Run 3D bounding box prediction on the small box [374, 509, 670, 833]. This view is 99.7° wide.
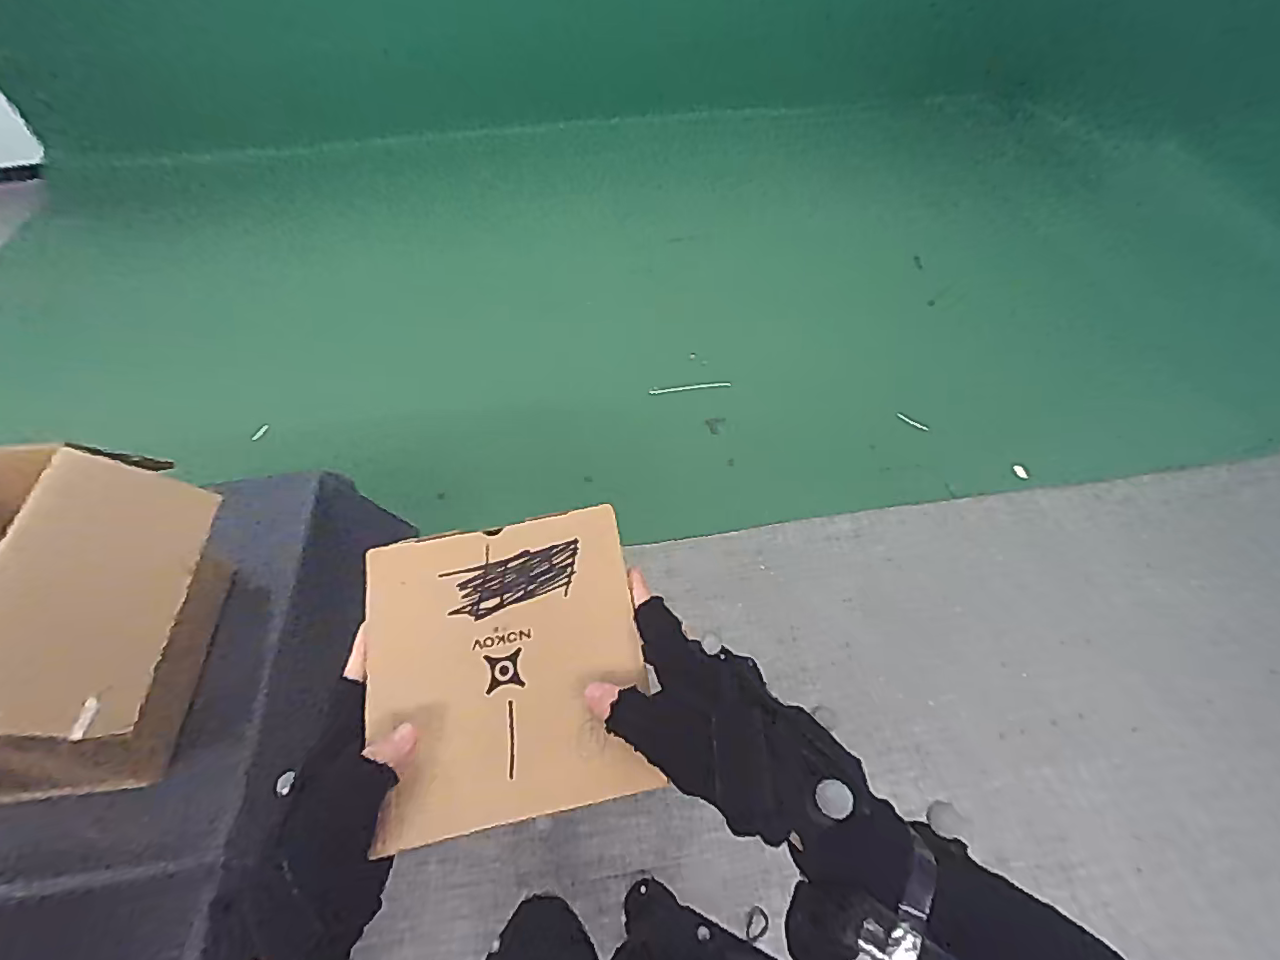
[{"bbox_3d":[-0.078,0.143,0.407,0.168,0.176,0.179,-8,63,-5],"label":"small box"}]
